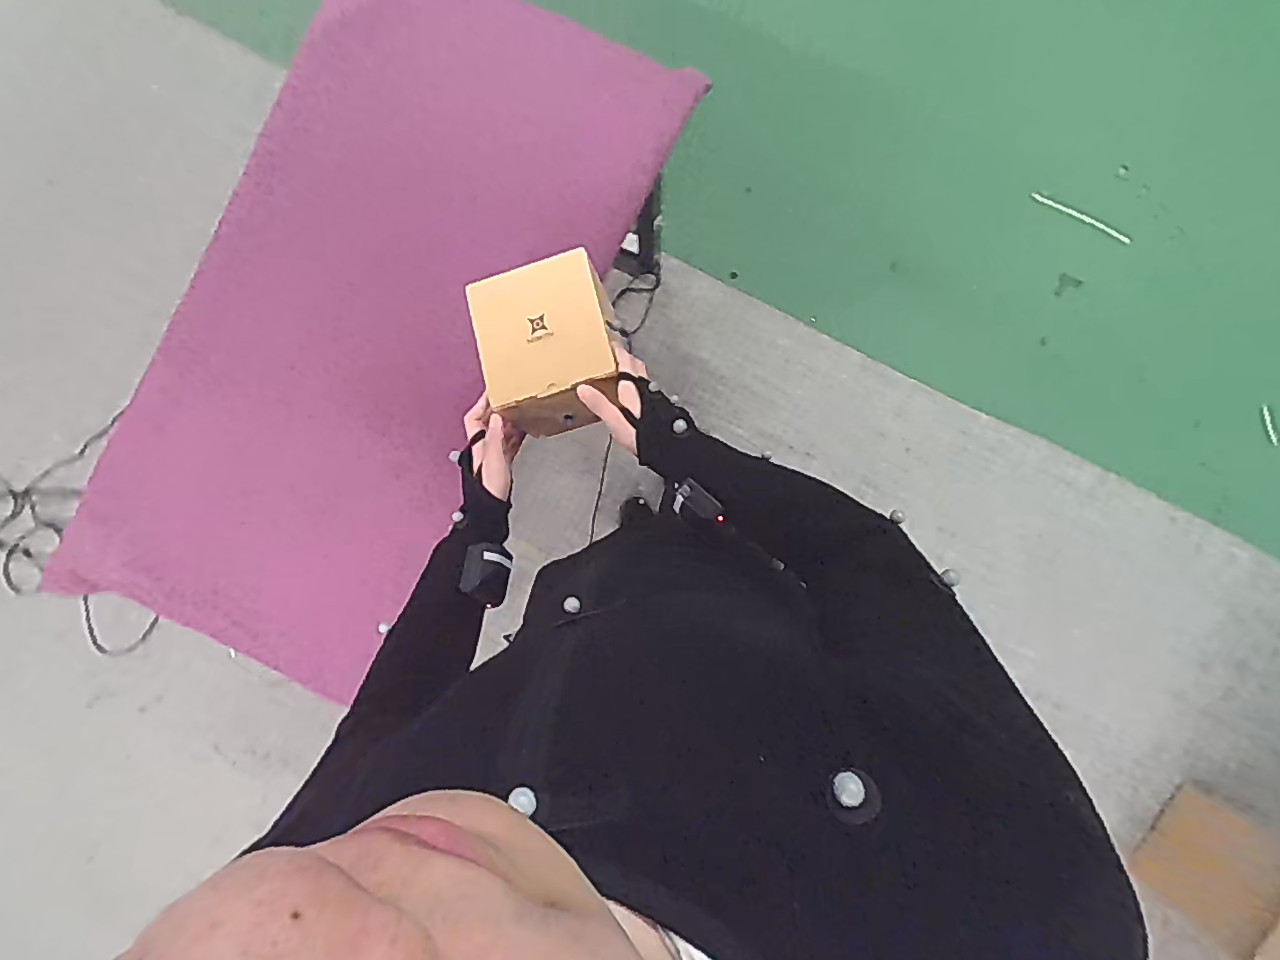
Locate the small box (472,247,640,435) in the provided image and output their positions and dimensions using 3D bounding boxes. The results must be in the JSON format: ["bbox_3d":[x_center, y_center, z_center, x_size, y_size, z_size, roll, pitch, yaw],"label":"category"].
[{"bbox_3d":[-0.105,-0.178,0.743,0.168,0.176,0.179,-15,81,6],"label":"small box"}]
